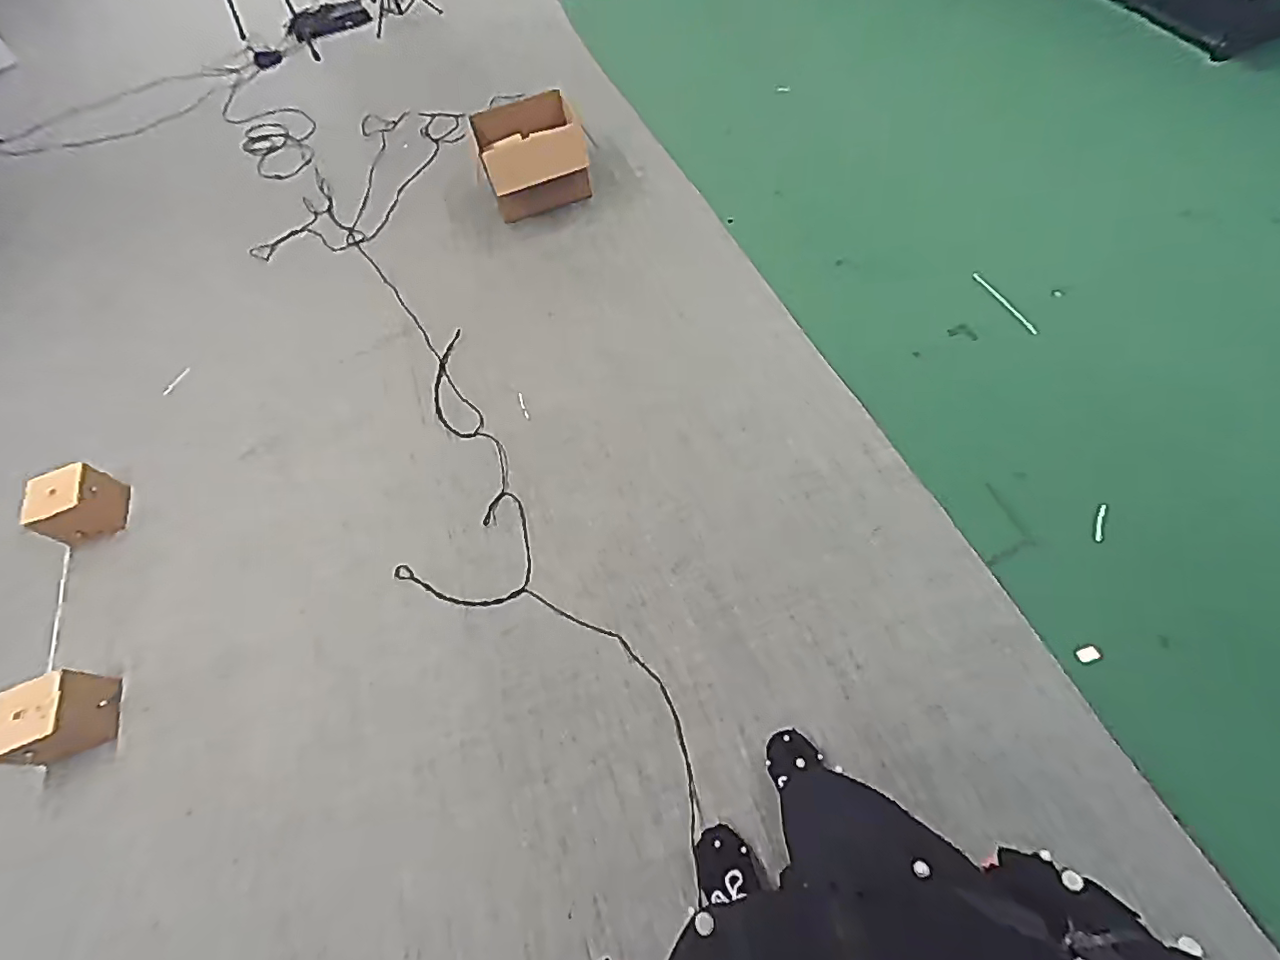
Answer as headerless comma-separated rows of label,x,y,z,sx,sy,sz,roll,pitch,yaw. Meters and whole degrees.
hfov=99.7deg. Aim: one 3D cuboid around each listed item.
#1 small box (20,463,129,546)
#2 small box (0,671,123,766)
small box,-1.777,0.082,1.713,0.168,0.176,0.179,-22,62,-6
small box,-1.499,0.618,1.388,0.179,0.176,0.168,-23,62,-6
